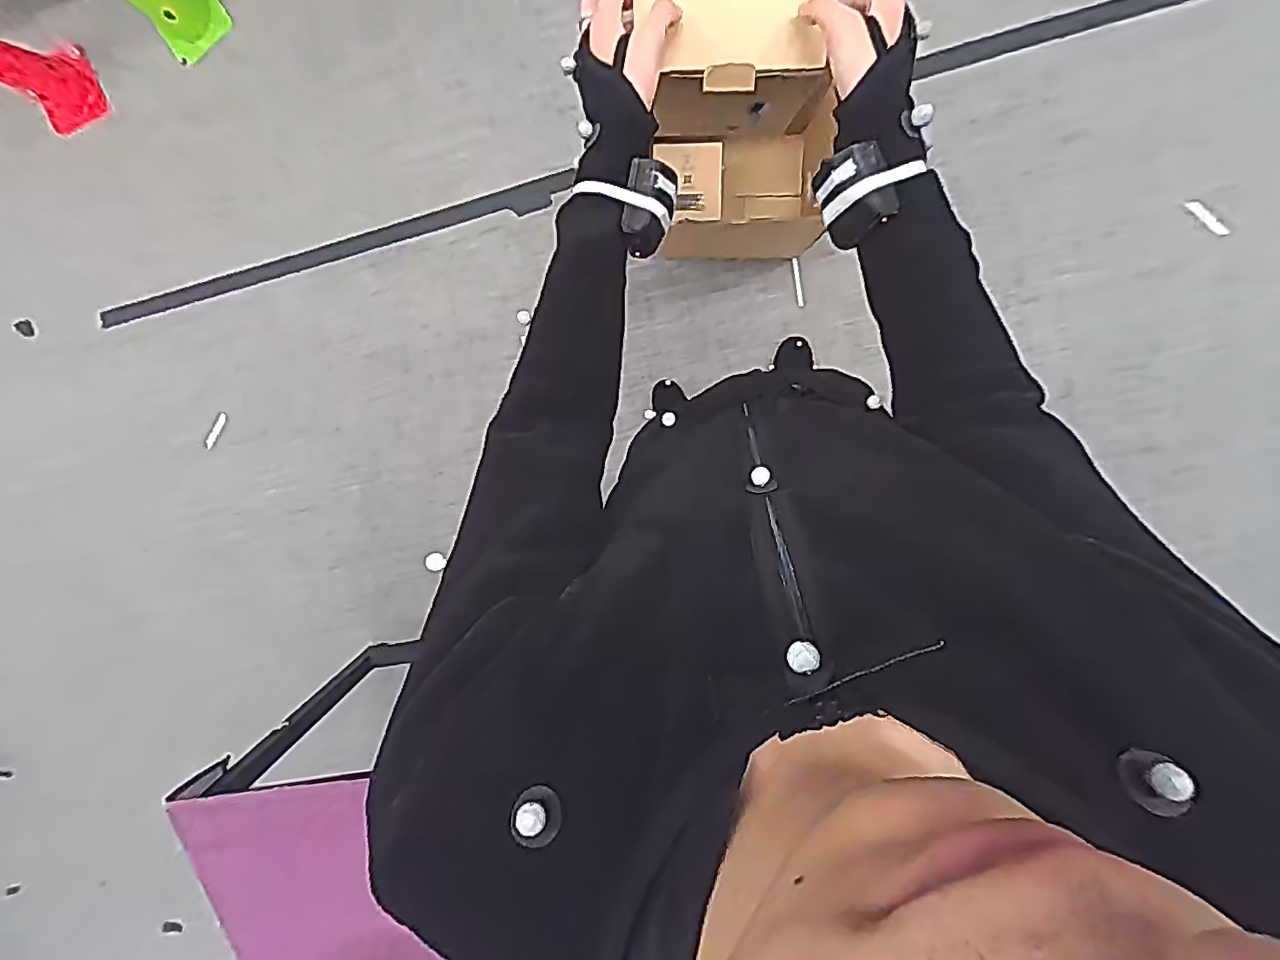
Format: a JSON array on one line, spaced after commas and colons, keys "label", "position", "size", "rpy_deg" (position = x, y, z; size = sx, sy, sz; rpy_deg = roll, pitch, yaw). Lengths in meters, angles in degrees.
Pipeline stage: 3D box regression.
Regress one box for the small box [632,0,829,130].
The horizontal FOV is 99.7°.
[{"label": "small box", "position": [0.079, -0.454, 0.515], "size": [0.168, 0.176, 0.179], "rpy_deg": [0, 107, 1]}]
